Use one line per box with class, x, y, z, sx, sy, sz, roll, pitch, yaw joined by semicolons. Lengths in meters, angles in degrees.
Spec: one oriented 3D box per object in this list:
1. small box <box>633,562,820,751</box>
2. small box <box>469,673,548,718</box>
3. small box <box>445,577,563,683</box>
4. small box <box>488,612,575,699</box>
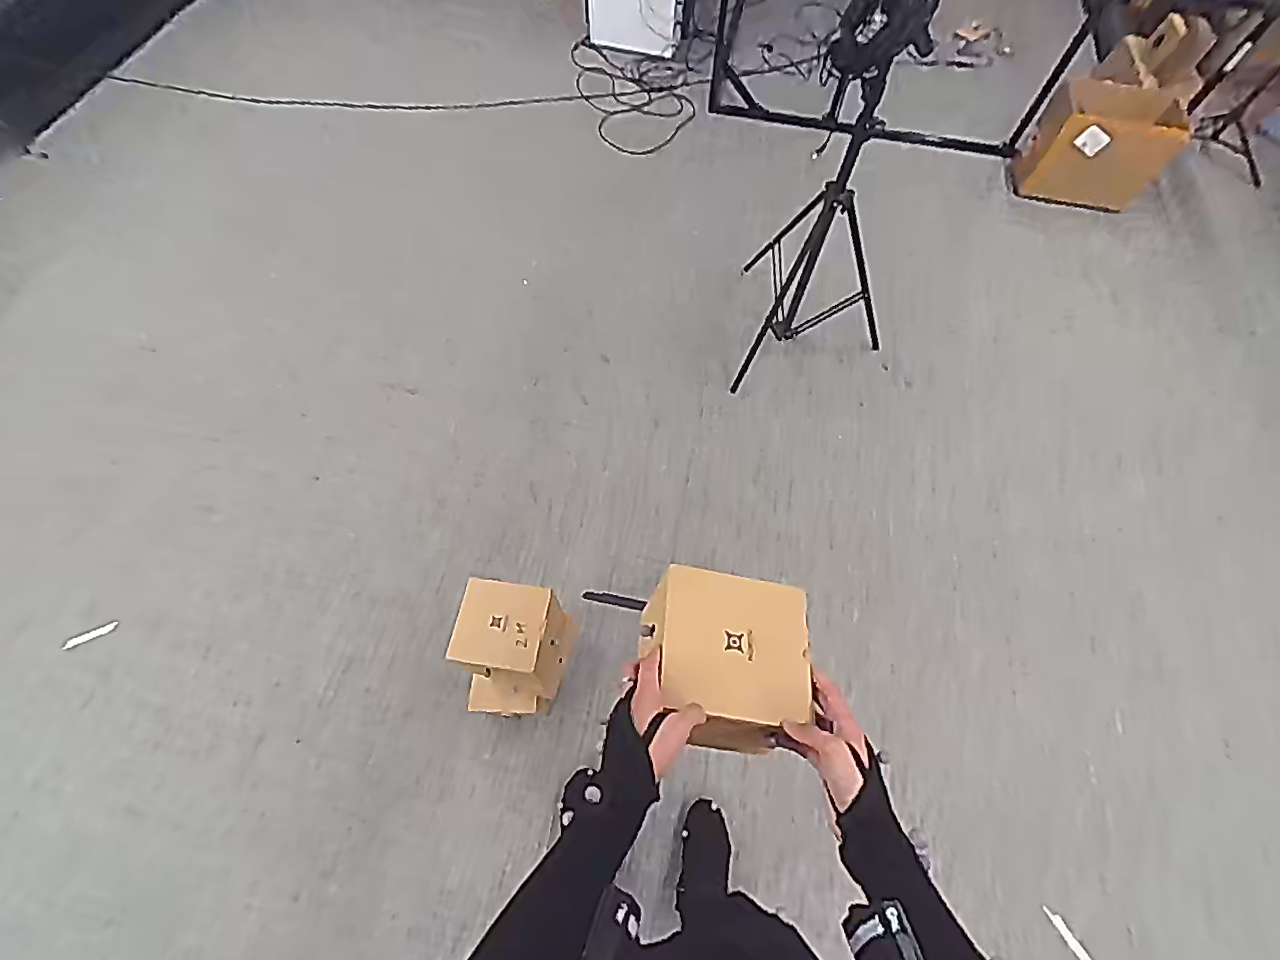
small box;0.094;0.221;0.659;0.179;0.176;0.168;11;54;-7
small box;-0.323;0.509;1.386;0.168;0.176;0.179;2;63;0
small box;-0.270;0.316;1.119;0.179;0.176;0.168;8;63;4
small box;-0.257;0.394;1.263;0.168;0.176;0.179;15;64;7
